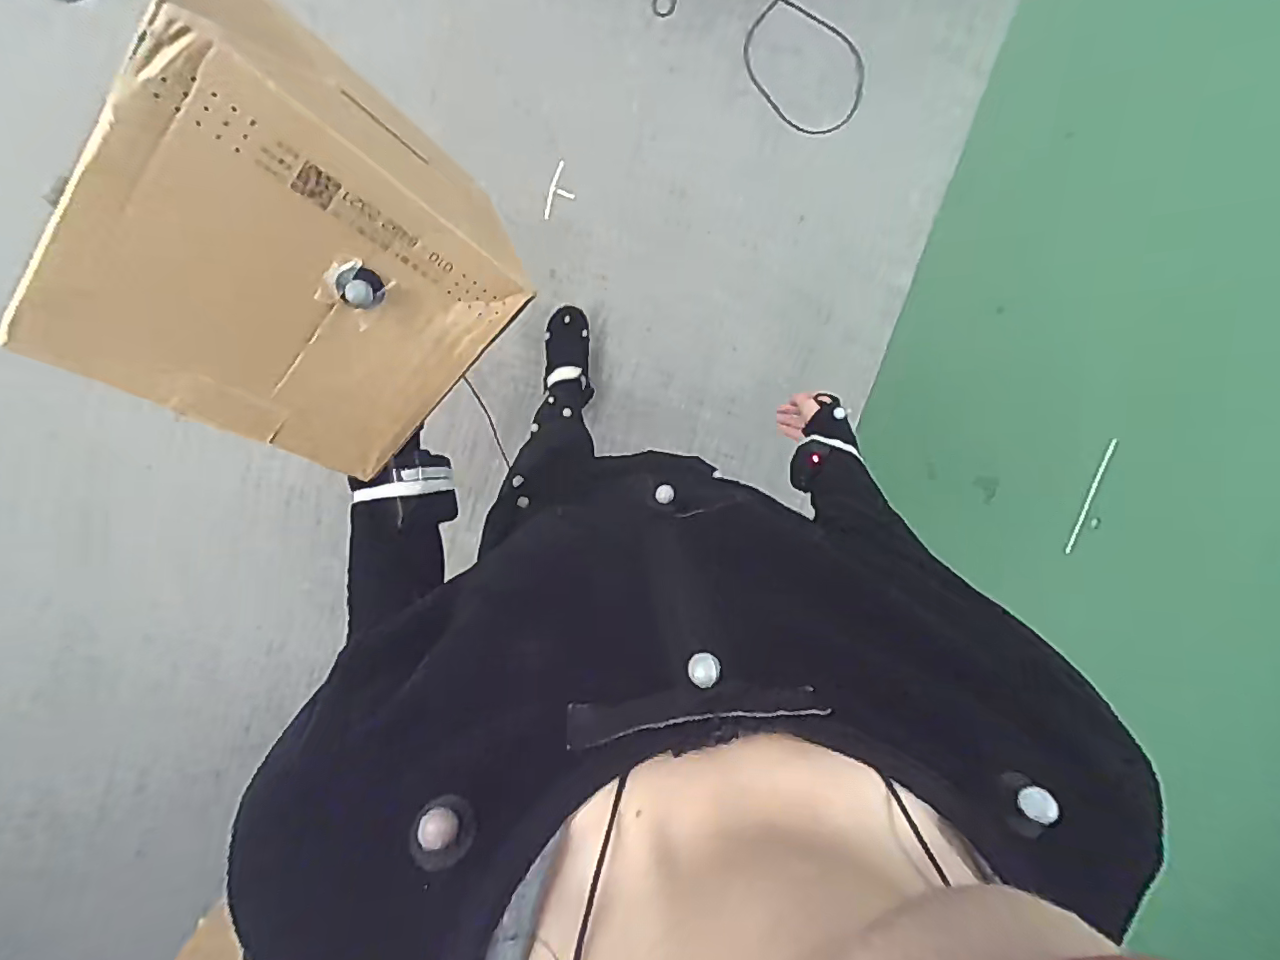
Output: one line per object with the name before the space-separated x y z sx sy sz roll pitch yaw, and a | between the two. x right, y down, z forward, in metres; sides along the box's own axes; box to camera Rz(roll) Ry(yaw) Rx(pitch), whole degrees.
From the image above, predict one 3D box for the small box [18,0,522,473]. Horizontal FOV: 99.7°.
small box | -0.193 -0.142 0.322 0.176 0.179 0.168 -43 137 17
